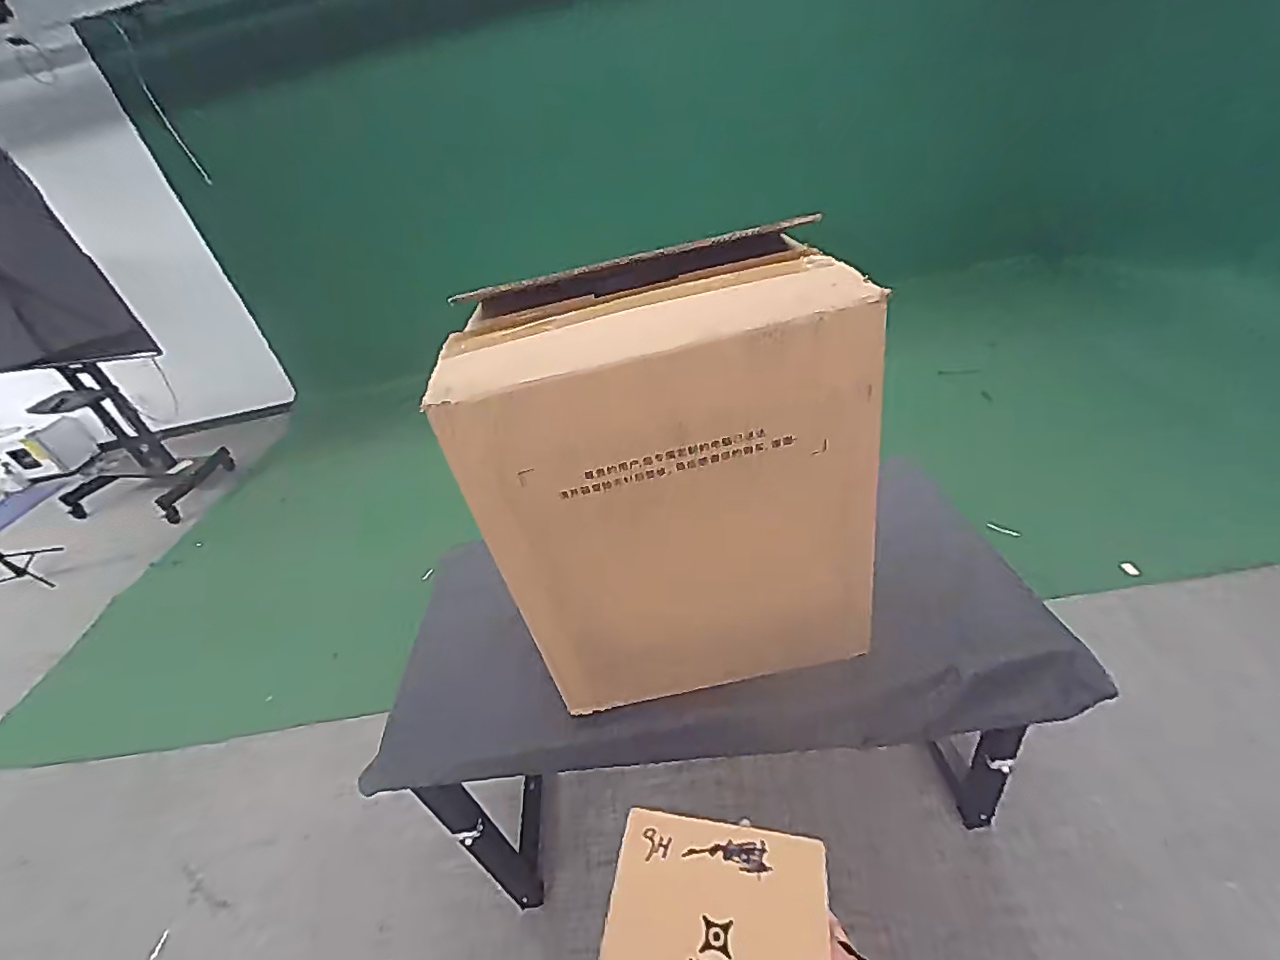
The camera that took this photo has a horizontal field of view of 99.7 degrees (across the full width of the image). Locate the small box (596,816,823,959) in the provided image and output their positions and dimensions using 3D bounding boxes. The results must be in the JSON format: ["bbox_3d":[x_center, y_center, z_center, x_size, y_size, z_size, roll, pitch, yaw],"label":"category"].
[{"bbox_3d":[0.058,0.412,0.437,0.168,0.176,0.179,1,36,12],"label":"small box"}]
